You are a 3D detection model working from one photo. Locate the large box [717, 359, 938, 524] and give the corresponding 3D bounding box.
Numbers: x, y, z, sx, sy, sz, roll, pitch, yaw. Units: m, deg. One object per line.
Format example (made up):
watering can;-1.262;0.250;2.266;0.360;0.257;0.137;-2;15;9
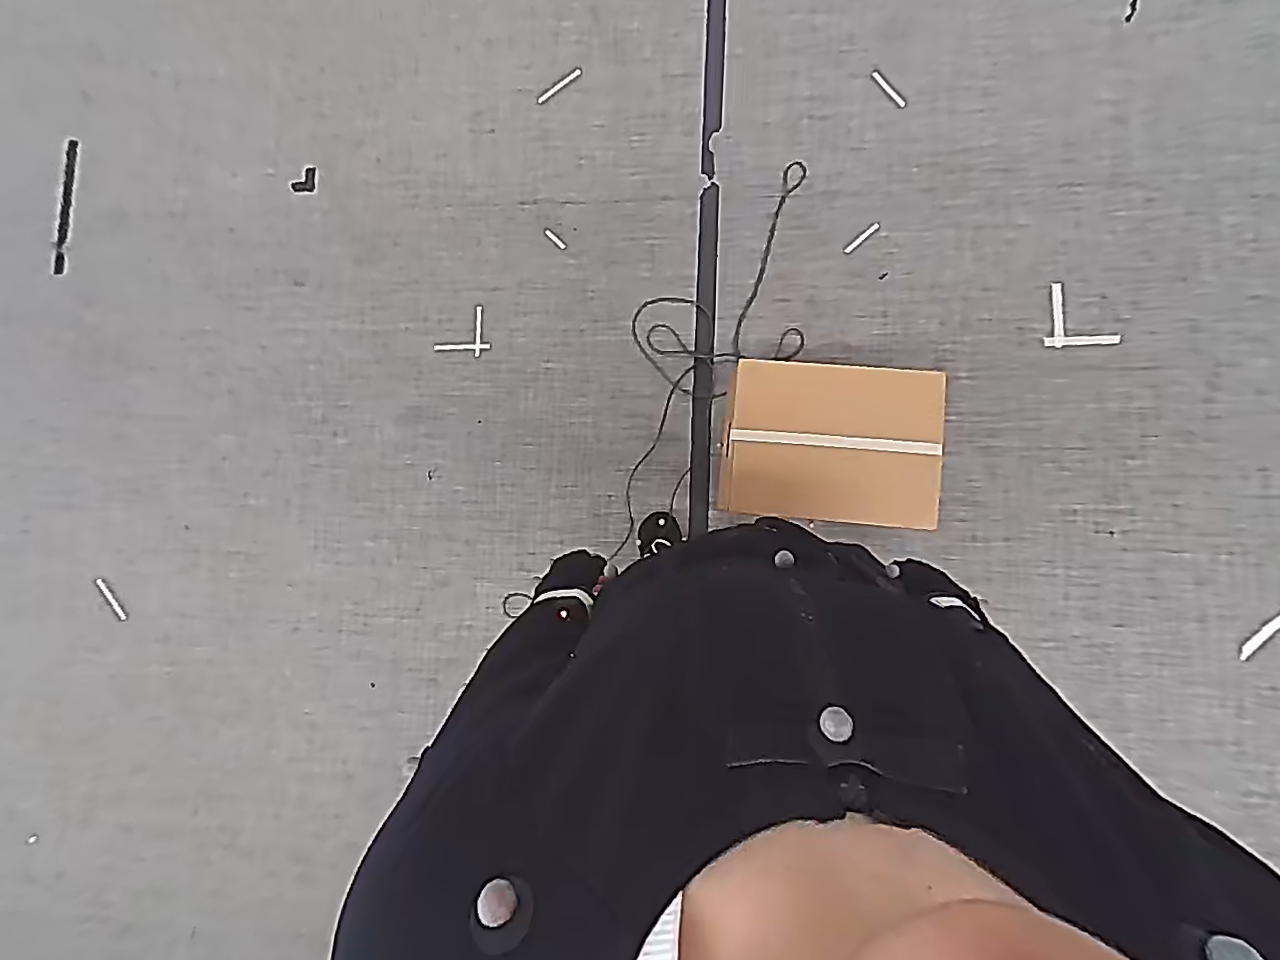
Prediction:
large box;0.391;-0.071;1.226;0.408;0.320;0.320;5;88;5
